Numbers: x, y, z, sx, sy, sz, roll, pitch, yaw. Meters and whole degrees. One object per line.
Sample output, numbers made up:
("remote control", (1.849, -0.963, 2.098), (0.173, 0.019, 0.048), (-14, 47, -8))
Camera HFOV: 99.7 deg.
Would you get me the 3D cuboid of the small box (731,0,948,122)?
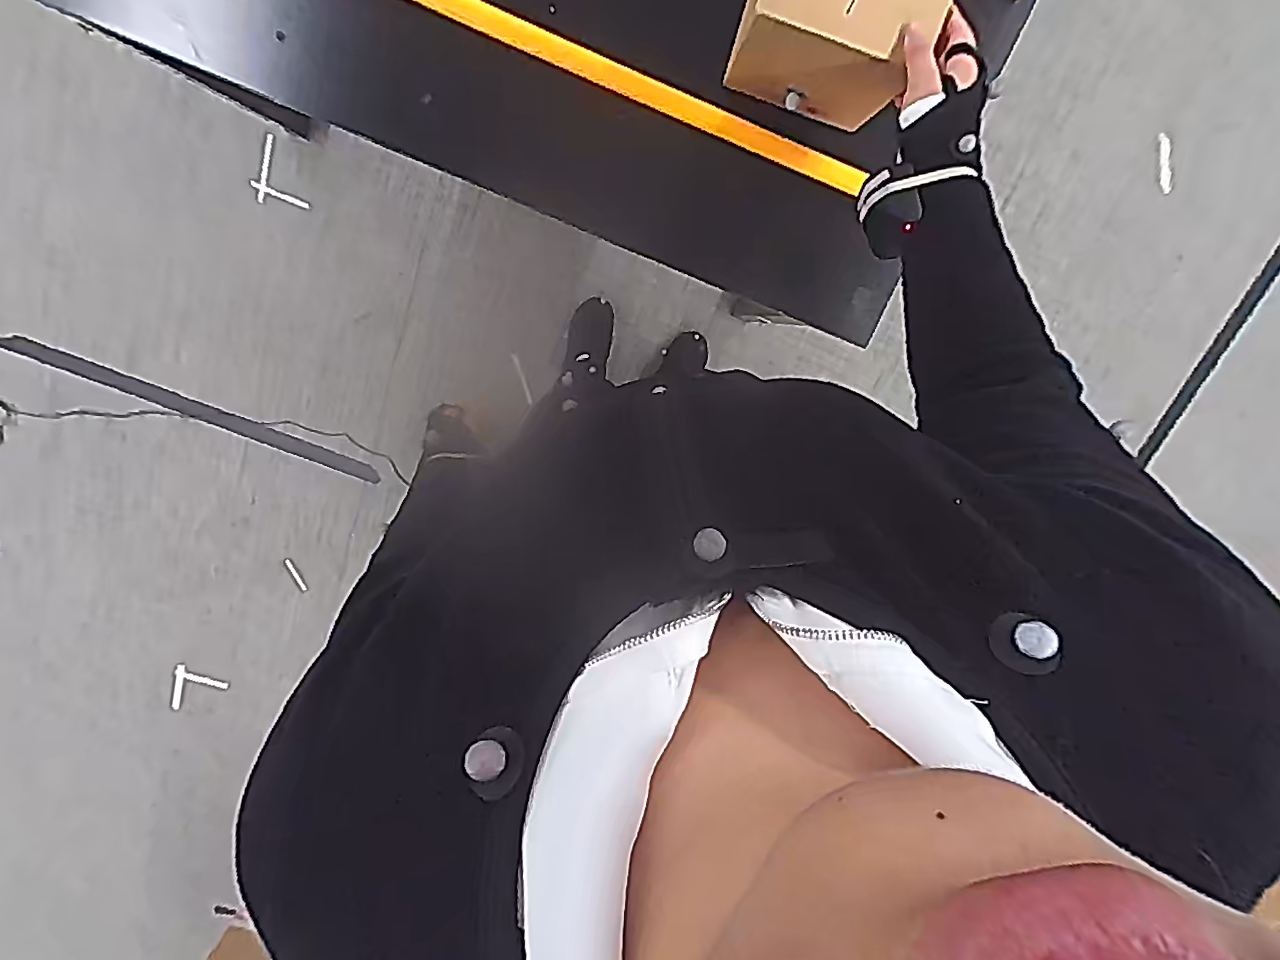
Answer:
("small box", (0.201, -0.498, 0.534), (0.168, 0.176, 0.179), (16, 107, -6))
